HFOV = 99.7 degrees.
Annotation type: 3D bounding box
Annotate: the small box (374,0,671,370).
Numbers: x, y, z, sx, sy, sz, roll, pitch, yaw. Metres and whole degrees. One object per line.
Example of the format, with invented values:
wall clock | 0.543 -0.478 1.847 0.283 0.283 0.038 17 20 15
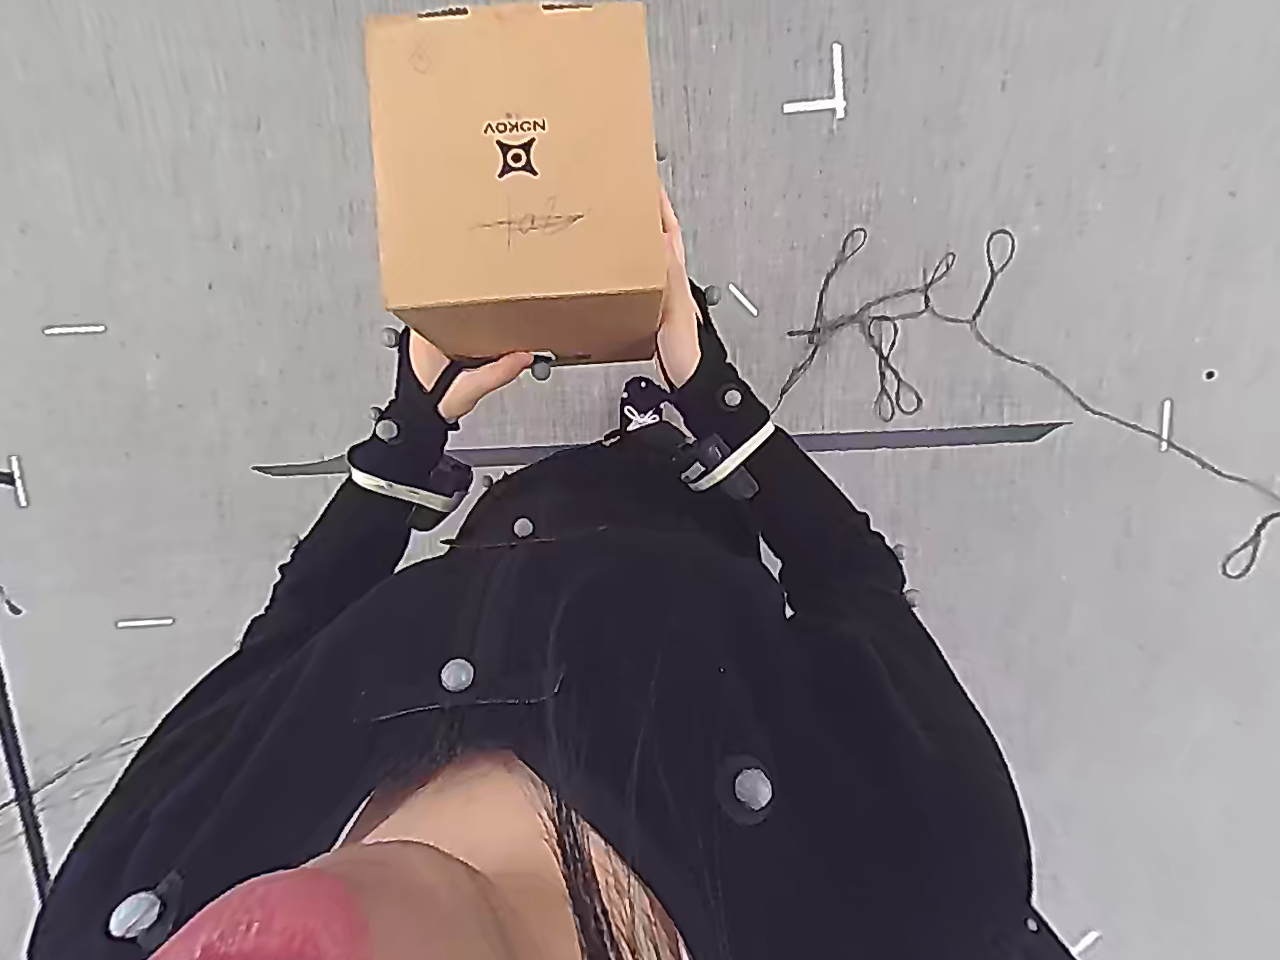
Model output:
small box | -0.071 -0.190 0.393 0.168 0.176 0.179 -4 89 -1
